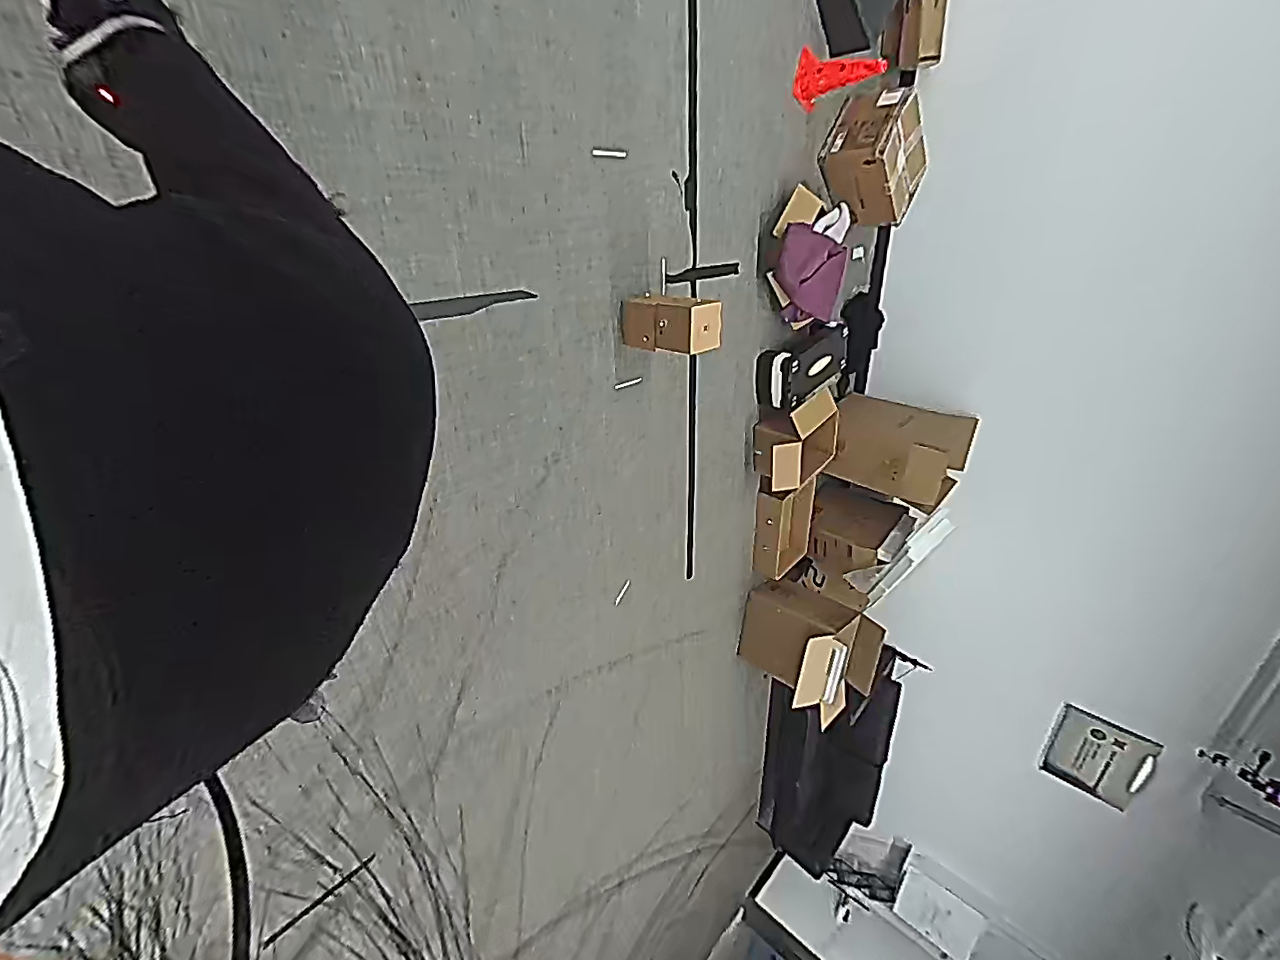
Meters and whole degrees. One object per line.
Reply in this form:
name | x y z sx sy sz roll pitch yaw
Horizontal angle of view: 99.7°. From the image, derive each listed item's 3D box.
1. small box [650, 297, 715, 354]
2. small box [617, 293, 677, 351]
small box | 0.154 -0.571 1.977 0.179 0.176 0.168 -25 125 -39
small box | 0.028 -0.611 2.071 0.168 0.176 0.179 -28 127 -39
